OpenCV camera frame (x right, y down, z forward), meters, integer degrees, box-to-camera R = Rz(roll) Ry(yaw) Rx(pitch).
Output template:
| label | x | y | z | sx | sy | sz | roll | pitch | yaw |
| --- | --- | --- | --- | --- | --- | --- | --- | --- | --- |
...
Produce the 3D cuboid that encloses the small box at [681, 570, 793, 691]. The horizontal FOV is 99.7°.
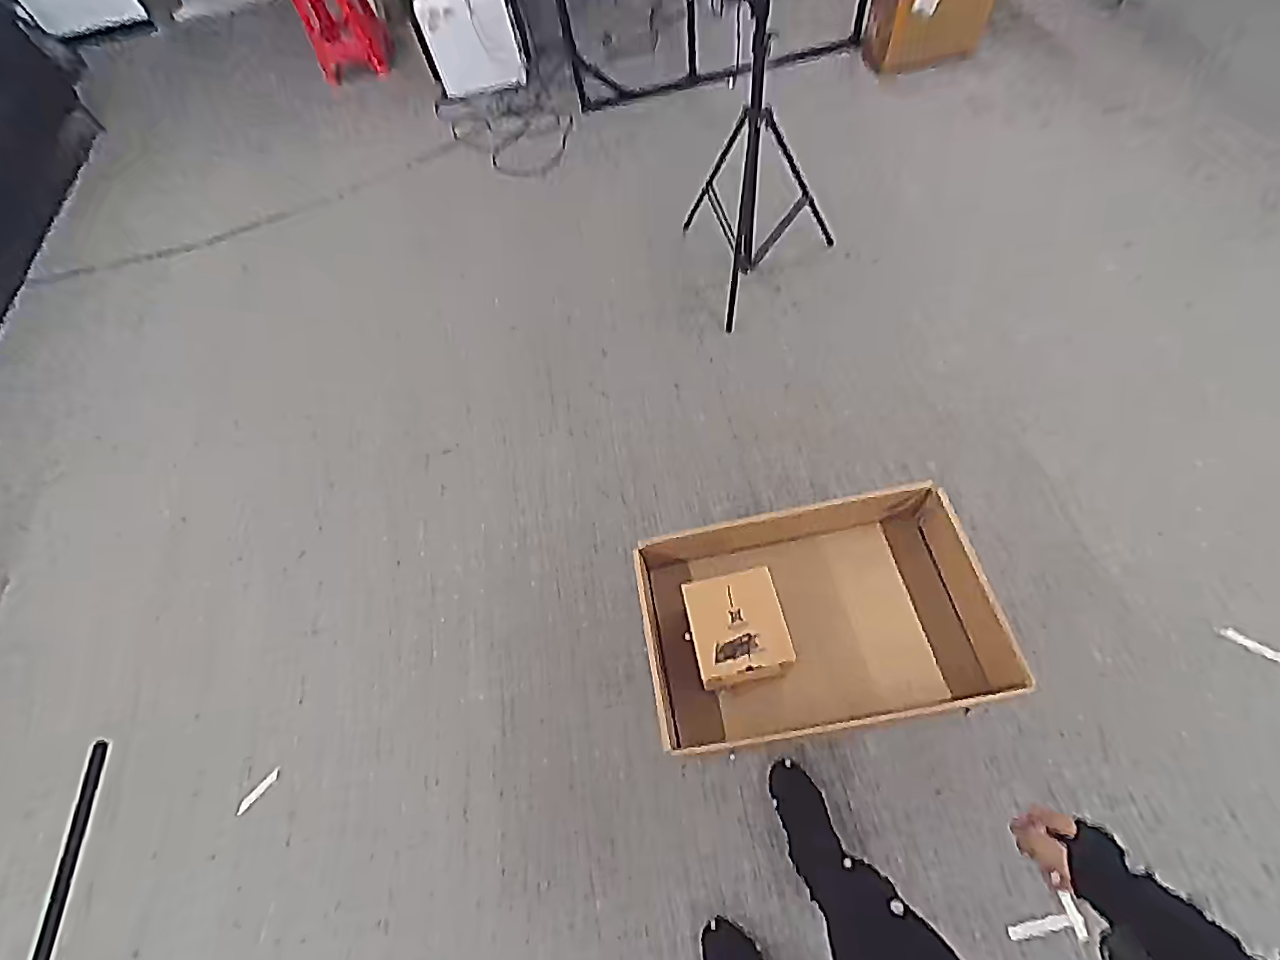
| label | x | y | z | sx | sy | sz | roll | pitch | yaw |
| --- | --- | --- | --- | --- | --- | --- | --- | --- | --- |
| small box | 0.181 | 0.294 | 1.026 | 0.168 | 0.176 | 0.179 | -13 | 60 | 2 |
